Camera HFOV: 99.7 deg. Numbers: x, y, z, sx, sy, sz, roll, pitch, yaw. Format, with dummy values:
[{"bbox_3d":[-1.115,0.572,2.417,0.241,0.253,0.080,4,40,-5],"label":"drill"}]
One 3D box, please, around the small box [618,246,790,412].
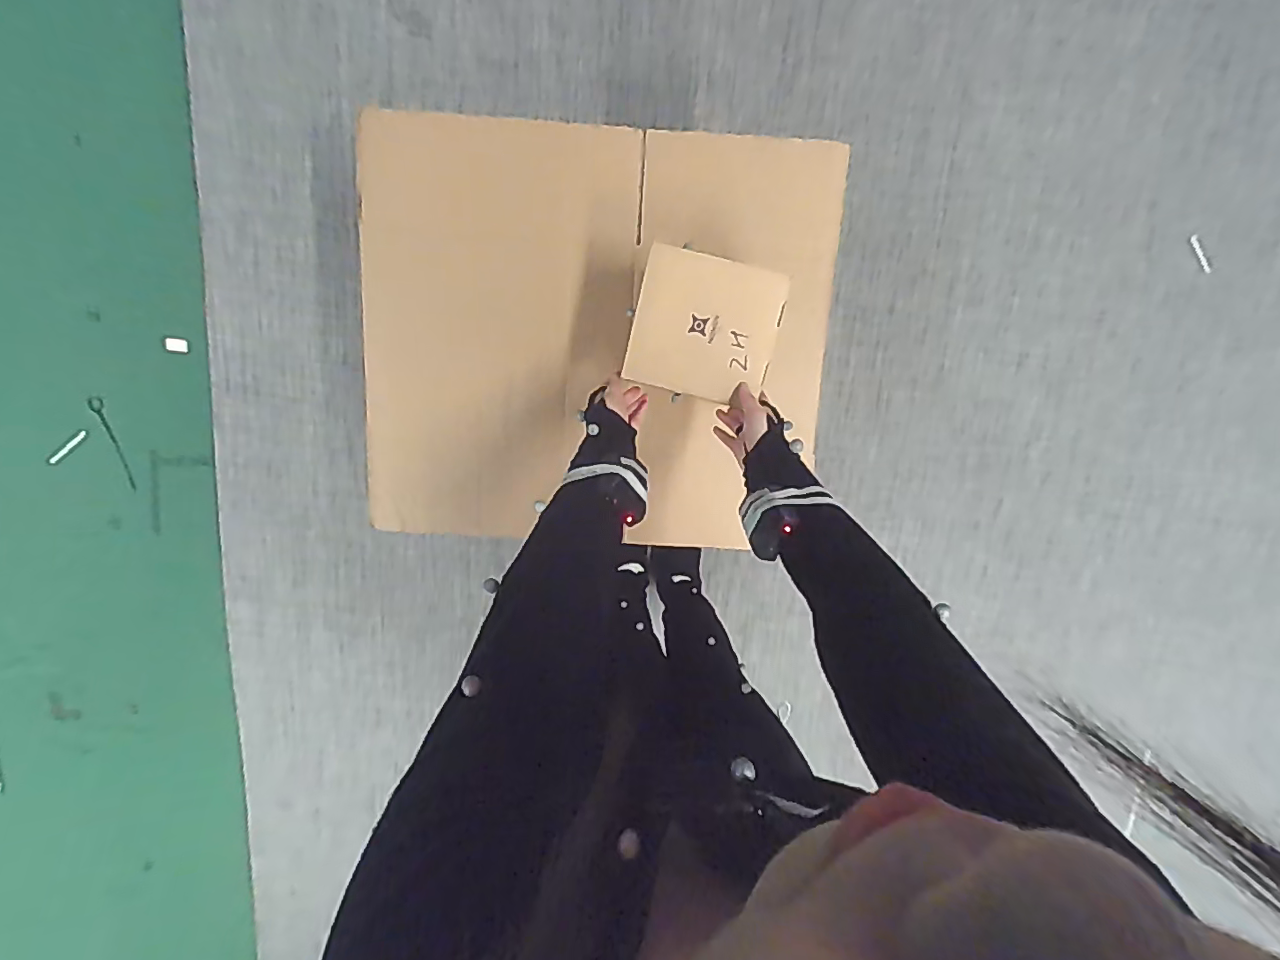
[{"bbox_3d":[0.077,-0.193,0.733,0.179,0.176,0.168,14,100,-2],"label":"small box"}]
